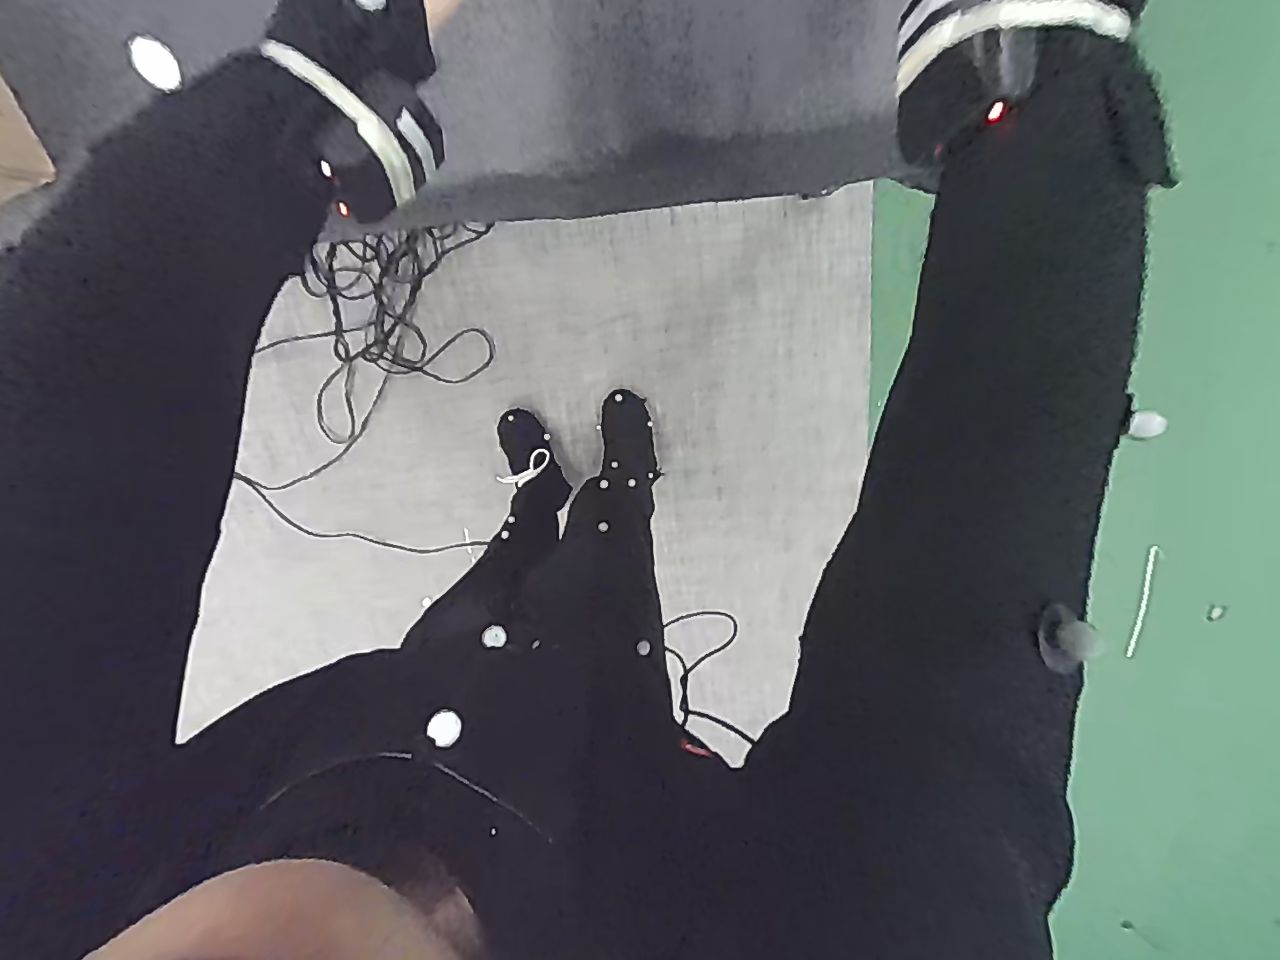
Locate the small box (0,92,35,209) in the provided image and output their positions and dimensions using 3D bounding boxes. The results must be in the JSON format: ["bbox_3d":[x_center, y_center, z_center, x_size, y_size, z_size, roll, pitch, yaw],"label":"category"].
[{"bbox_3d":[-0.594,-0.275,0.367,0.179,0.176,0.168,-16,107,9],"label":"small box"}]
